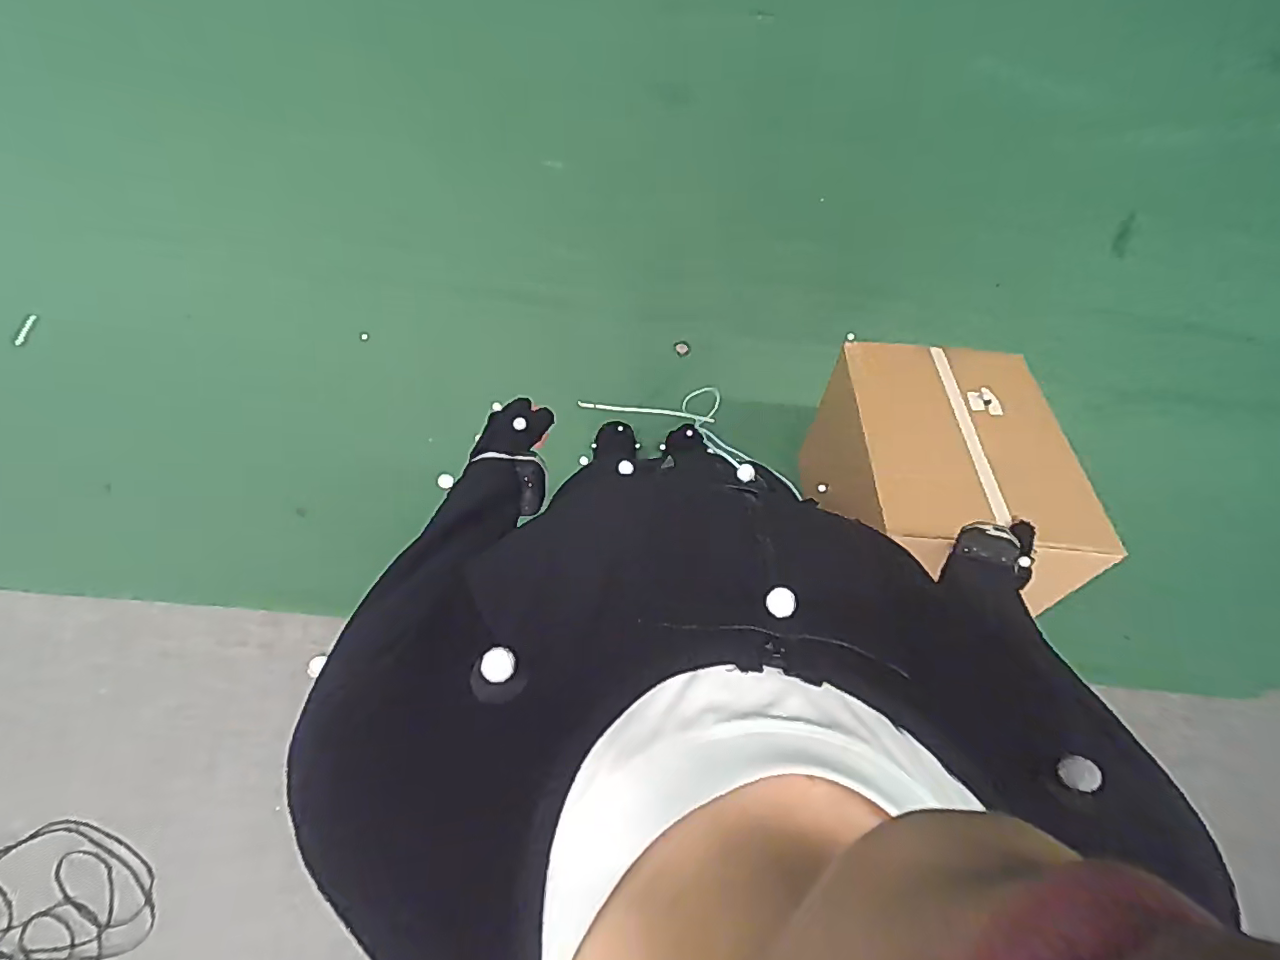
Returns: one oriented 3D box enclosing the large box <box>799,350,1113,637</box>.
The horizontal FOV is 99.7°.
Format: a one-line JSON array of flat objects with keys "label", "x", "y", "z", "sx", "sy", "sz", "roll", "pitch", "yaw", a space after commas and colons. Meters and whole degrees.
[{"label": "large box", "x": 0.490, "y": 0.026, "z": 0.958, "sx": 0.320, "sy": 0.320, "sz": 0.408, "roll": 6, "pitch": 52, "yaw": 1}]
